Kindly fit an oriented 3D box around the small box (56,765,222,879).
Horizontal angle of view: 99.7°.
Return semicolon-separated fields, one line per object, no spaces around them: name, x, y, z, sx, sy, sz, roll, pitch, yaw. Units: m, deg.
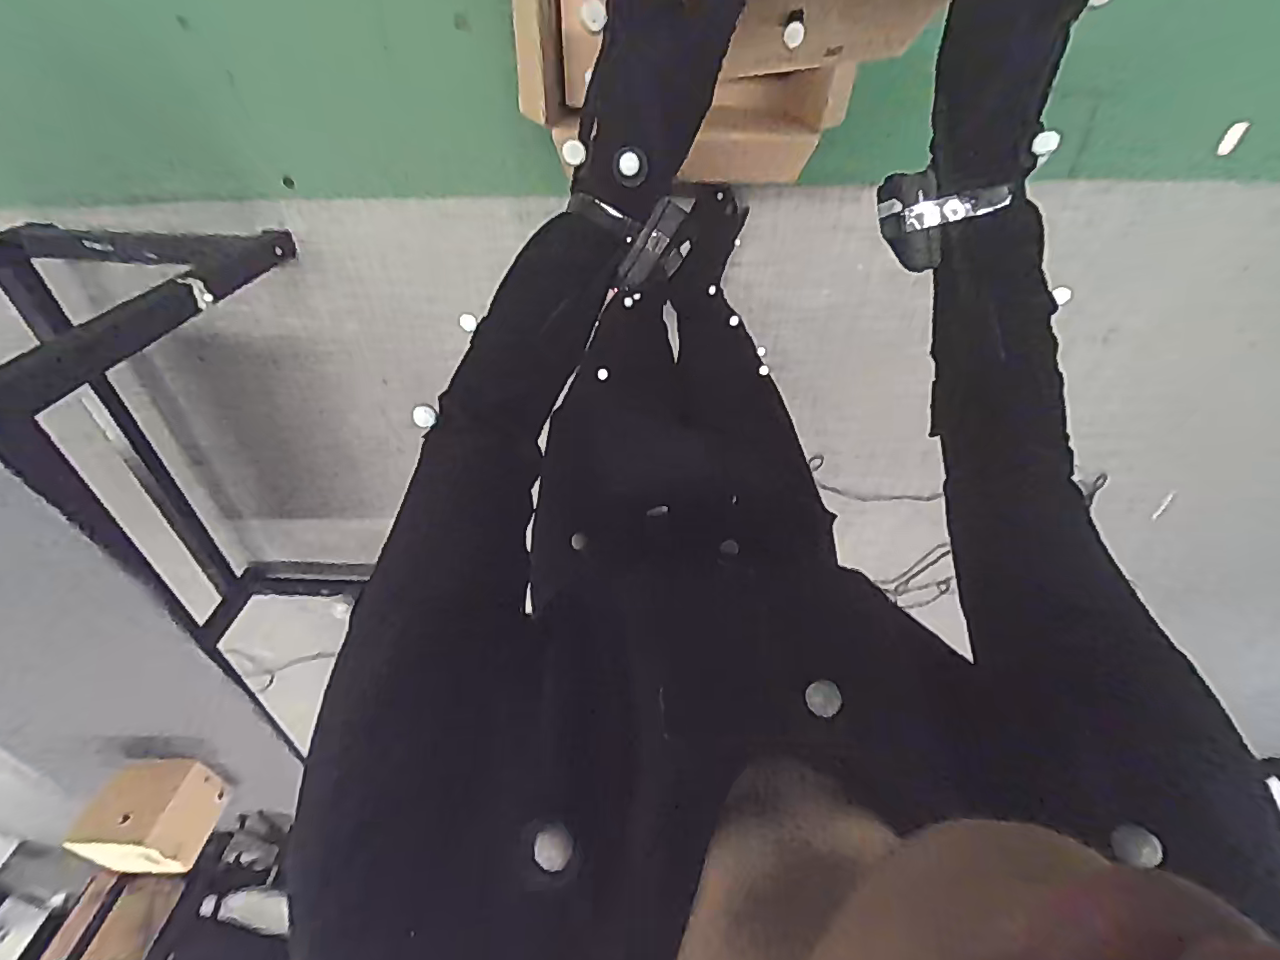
small box;-1.055;0.734;1.165;0.179;0.176;0.168;-1;128;4
